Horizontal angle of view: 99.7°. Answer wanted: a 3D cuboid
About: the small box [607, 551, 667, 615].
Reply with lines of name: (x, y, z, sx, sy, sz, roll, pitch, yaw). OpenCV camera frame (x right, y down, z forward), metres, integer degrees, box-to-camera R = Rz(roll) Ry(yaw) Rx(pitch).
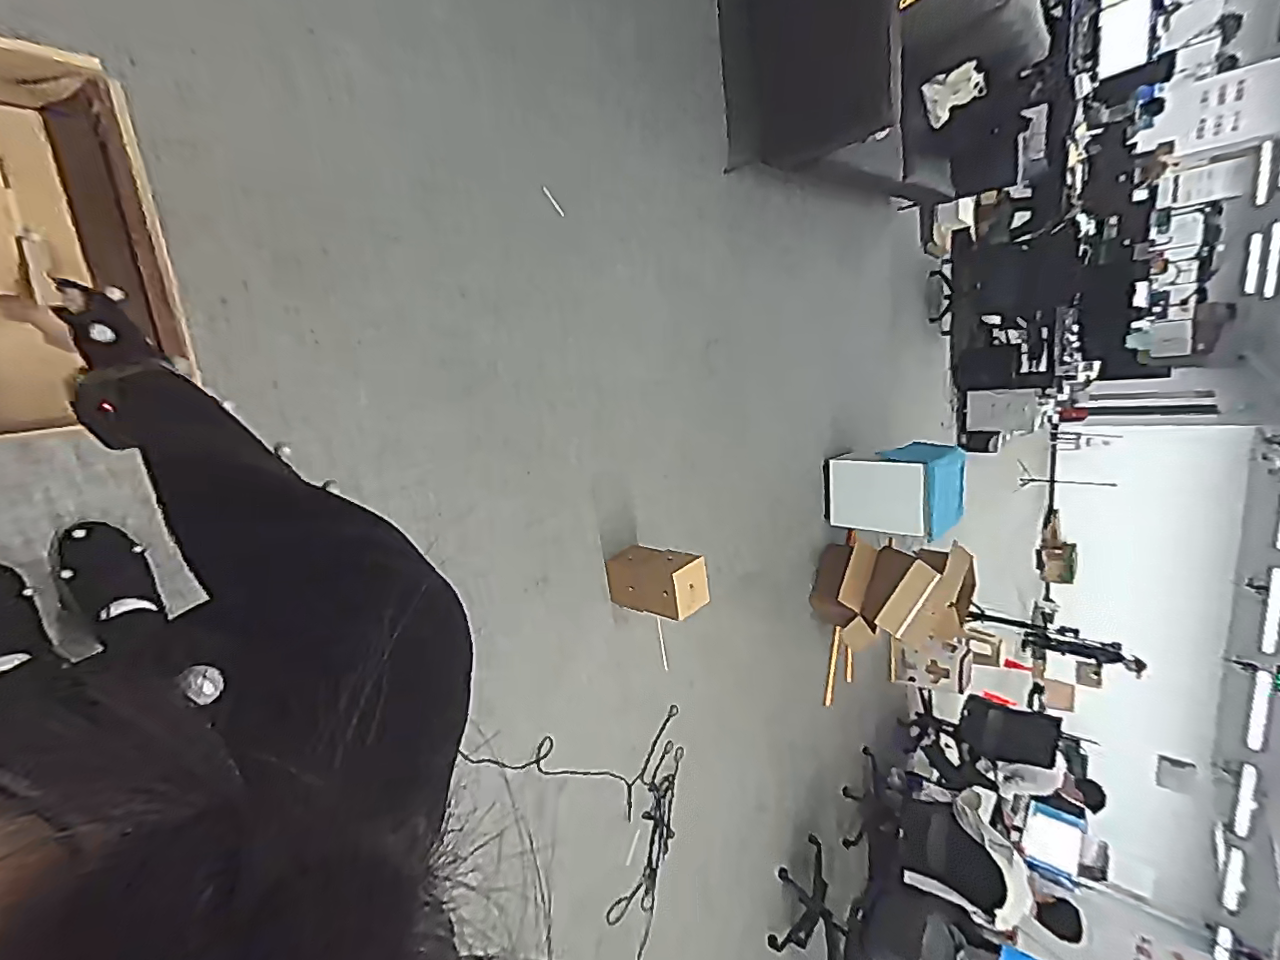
small box: (-0.003, 0.366, 1.970, 0.168, 0.176, 0.179, -21, 108, -43)

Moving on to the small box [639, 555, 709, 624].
small box: (0.113, 0.365, 1.854, 0.168, 0.176, 0.179, -20, 107, -42)
